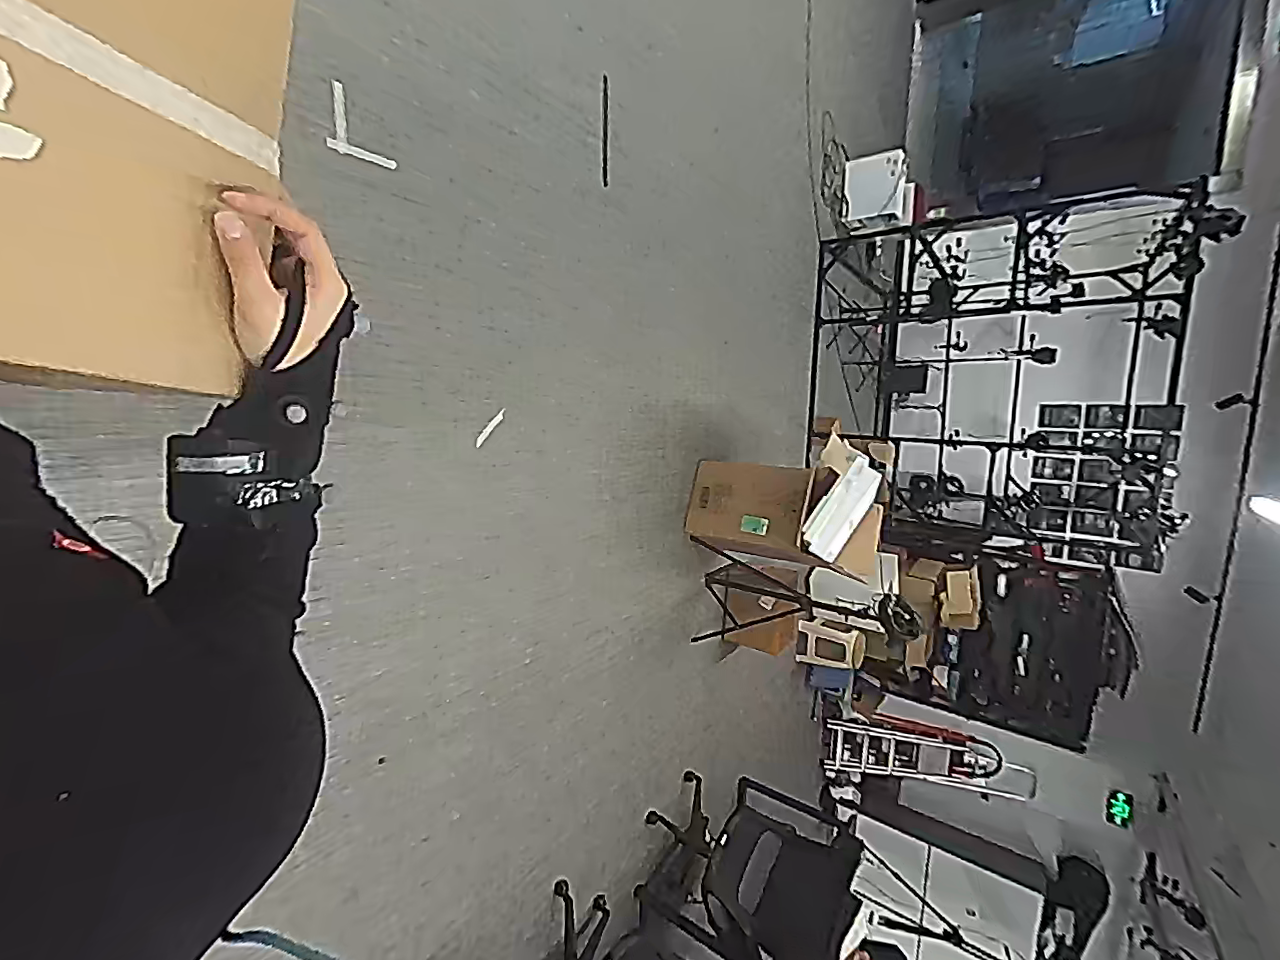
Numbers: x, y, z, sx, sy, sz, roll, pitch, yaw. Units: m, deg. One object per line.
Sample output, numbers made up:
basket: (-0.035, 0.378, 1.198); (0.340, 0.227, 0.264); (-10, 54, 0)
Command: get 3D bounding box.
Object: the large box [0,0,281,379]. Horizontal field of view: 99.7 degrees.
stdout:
large box: (-0.469, -0.236, 0.247); (0.408, 0.320, 0.320); (4, 93, -64)
